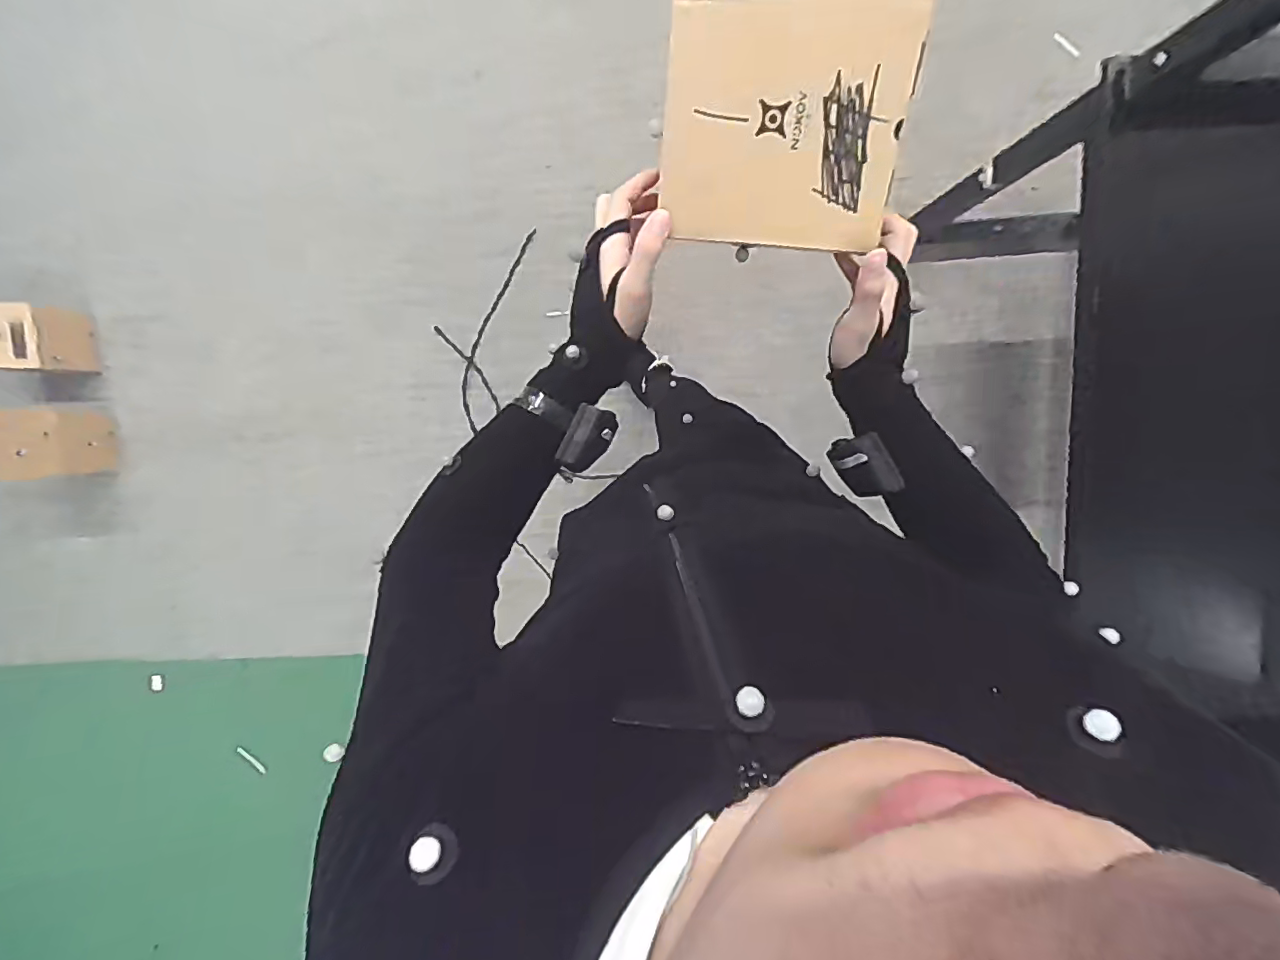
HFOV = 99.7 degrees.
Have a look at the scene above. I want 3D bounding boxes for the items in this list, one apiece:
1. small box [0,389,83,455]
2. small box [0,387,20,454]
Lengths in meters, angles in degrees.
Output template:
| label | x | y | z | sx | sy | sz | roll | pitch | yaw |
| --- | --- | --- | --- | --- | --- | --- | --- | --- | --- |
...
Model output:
| label | x | y | z | sx | sy | sz | roll | pitch | yaw |
| --- | --- | --- | --- | --- | --- | --- | --- | --- | --- |
| small box | -1.639 | -0.157 | 1.434 | 0.179 | 0.176 | 0.168 | 1 | 97 | -2 |
| small box | -1.634 | -0.137 | 1.273 | 0.179 | 0.176 | 0.168 | -1 | 98 | -1 |
